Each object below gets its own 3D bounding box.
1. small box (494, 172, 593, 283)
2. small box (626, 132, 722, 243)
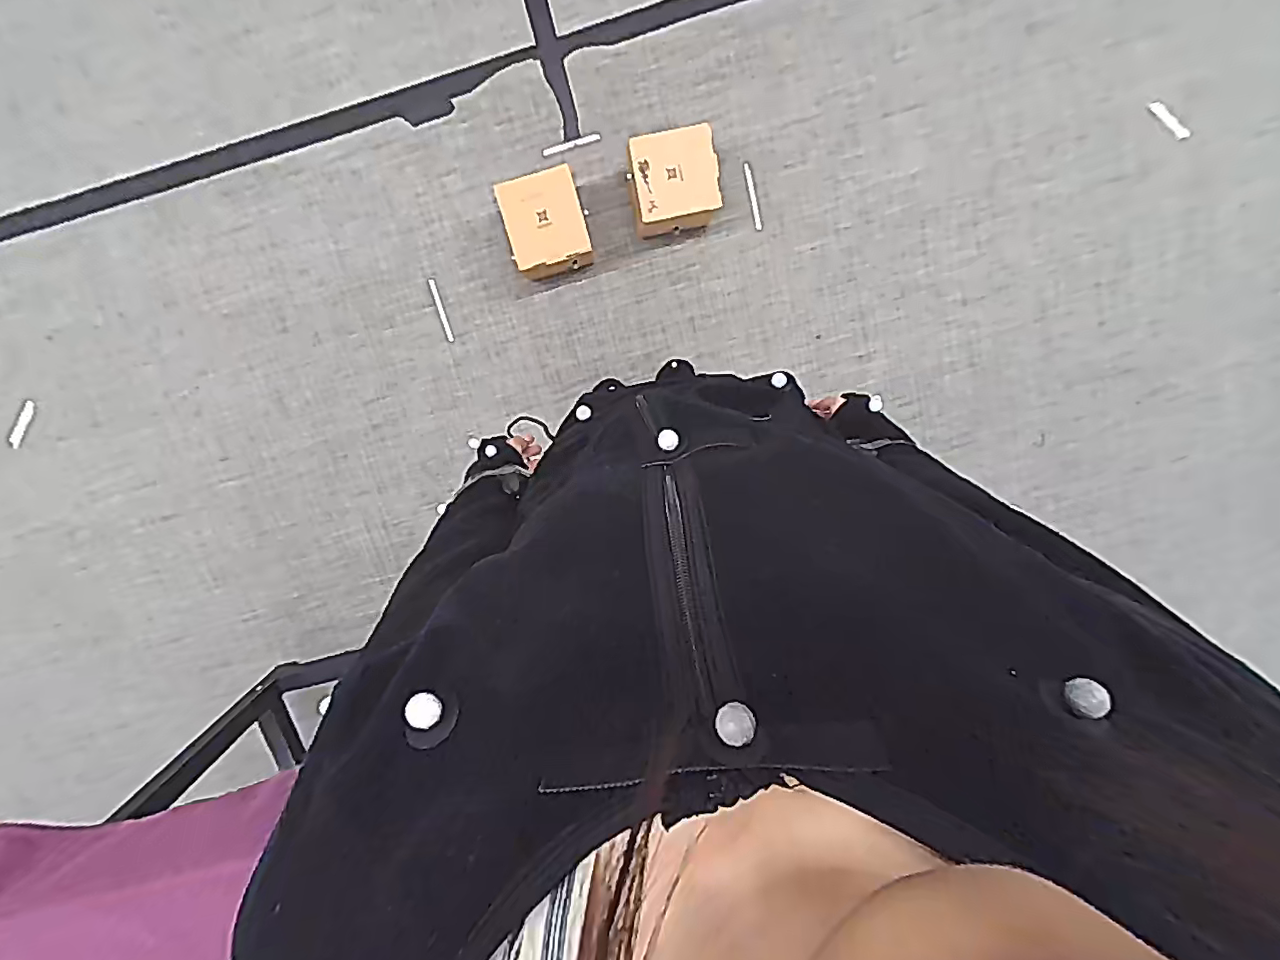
[{"bbox_3d":[-0.206,-0.554,1.215,0.168,0.176,0.179,-17,102,0],"label":"small box"},{"bbox_3d":[0.071,-0.645,1.209,0.179,0.176,0.168,-12,104,-1],"label":"small box"}]
